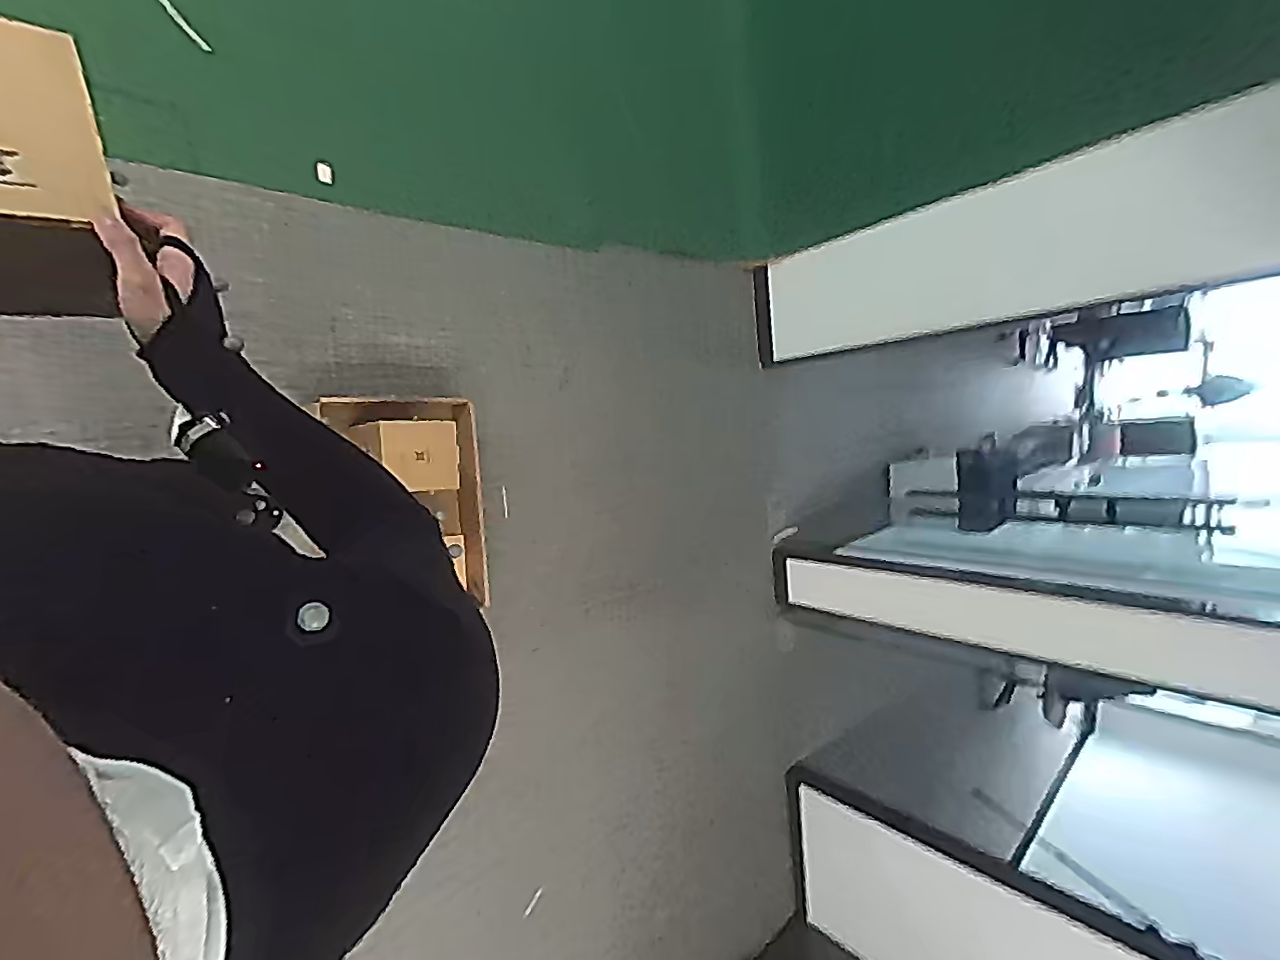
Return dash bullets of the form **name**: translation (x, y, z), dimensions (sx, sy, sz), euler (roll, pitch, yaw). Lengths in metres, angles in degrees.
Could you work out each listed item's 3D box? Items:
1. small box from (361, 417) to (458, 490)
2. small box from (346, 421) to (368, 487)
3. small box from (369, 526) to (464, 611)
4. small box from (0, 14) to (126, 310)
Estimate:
- **small box**: translation (-0.563, -0.066, 1.321), dimensions (0.179, 0.176, 0.168), euler (-4, 95, -40)
- **small box**: translation (-0.668, -0.072, 1.446), dimensions (0.179, 0.176, 0.168), euler (-4, 94, -41)
- **small box**: translation (-0.555, 0.211, 1.342), dimensions (0.179, 0.176, 0.168), euler (-4, 94, -39)
- **small box**: translation (-0.562, -0.257, 0.450), dimensions (0.168, 0.176, 0.179), euler (-14, 86, -42)
